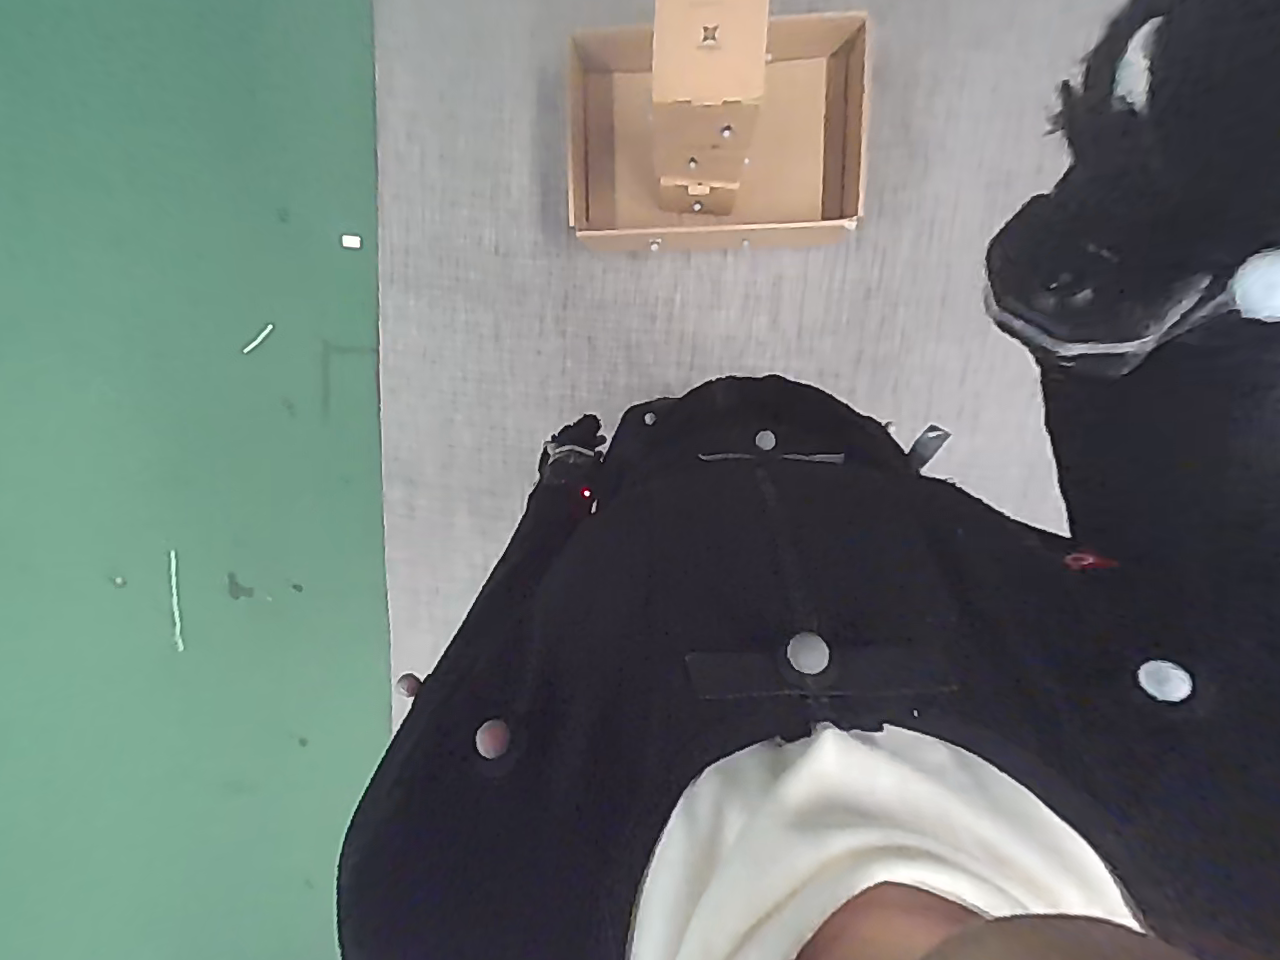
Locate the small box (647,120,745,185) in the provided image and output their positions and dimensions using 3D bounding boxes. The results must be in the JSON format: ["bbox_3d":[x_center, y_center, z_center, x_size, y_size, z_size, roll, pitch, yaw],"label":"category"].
[{"bbox_3d":[0.115,-0.680,1.022,0.179,0.176,0.168,9,99,4],"label":"small box"}]

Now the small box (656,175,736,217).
[{"bbox_3d":[0.130,-0.695,1.185,0.168,0.176,0.179,6,100,3],"label":"small box"}]

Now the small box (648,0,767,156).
[{"bbox_3d":[0.103,-0.646,0.864,0.168,0.176,0.179,3,97,2],"label":"small box"}]
